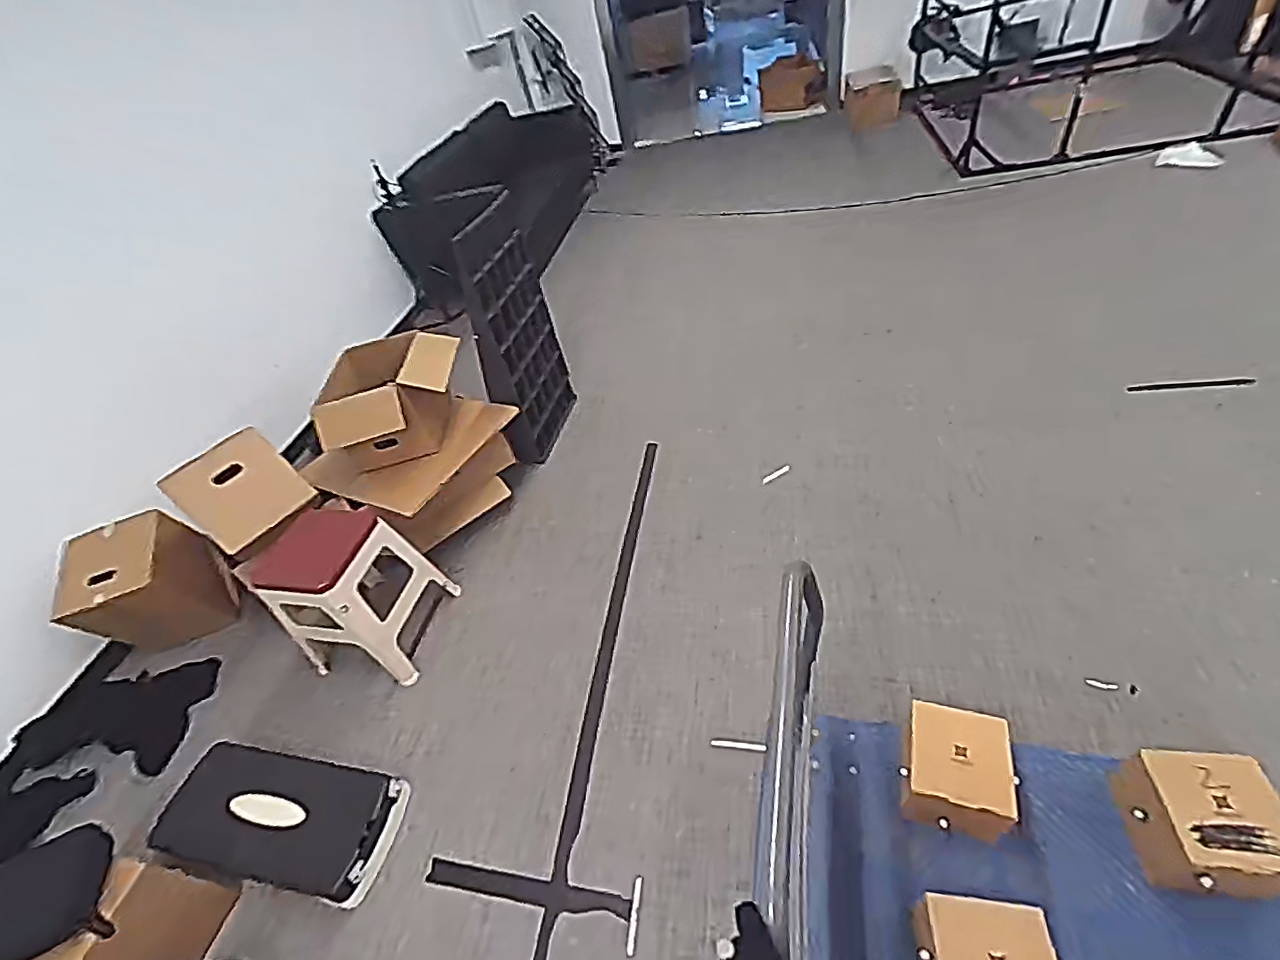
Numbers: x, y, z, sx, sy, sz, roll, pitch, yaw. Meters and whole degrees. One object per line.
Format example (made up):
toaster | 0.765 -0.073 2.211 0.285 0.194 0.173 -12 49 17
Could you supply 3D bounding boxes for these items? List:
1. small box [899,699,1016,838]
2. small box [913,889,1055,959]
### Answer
small box | 0.612 0.565 1.062 0.168 0.176 0.179 6 48 21
small box | 0.544 0.782 0.853 0.168 0.176 0.179 -2 44 15
